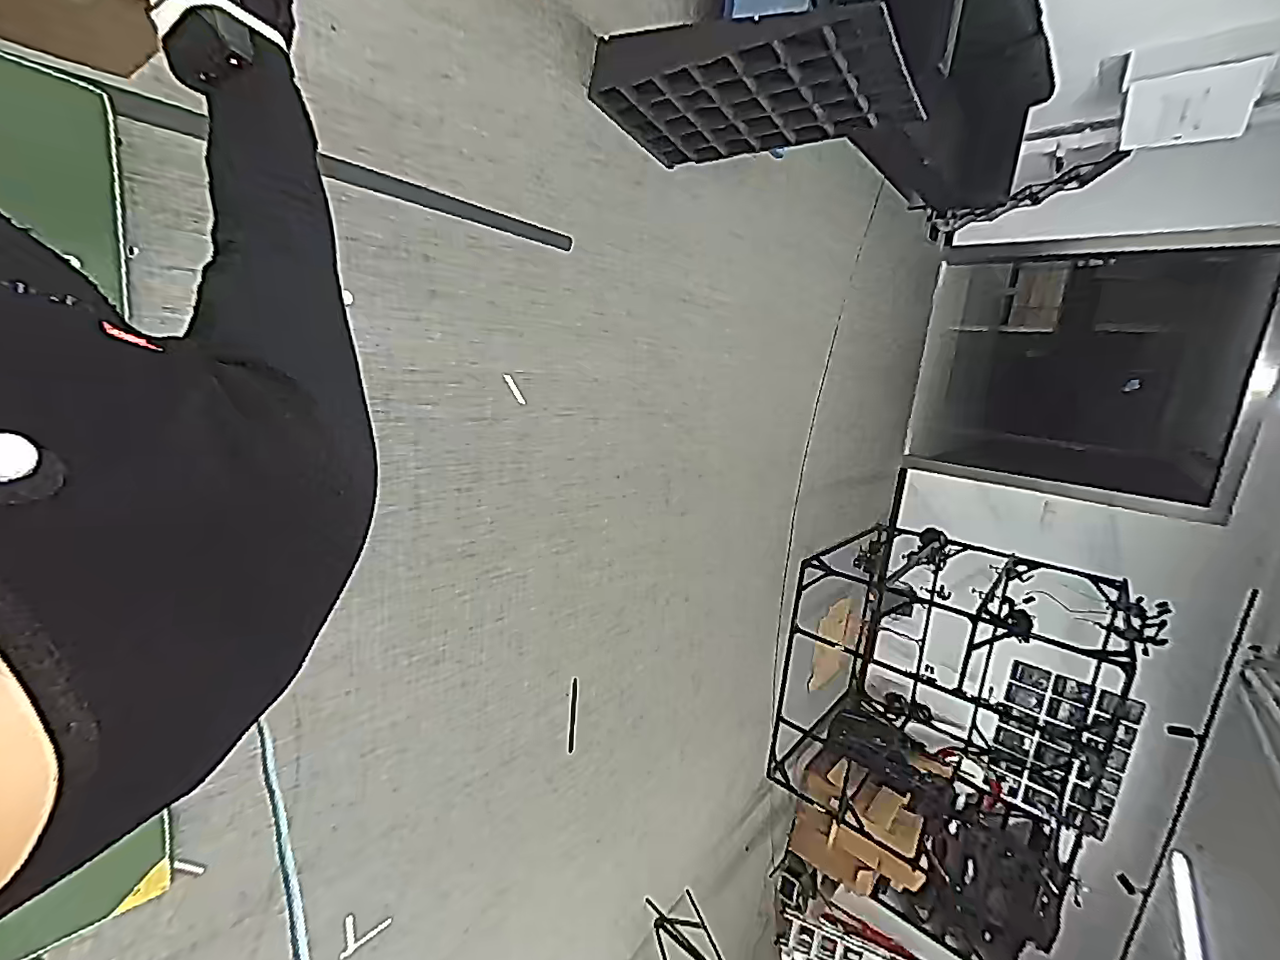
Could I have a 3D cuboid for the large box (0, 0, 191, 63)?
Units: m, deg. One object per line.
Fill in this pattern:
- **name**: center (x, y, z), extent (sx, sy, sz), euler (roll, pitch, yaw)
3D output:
- **large box**: center (-0.567, -0.524, 0.314), extent (0.408, 0.320, 0.320), euler (-13, 117, -49)
